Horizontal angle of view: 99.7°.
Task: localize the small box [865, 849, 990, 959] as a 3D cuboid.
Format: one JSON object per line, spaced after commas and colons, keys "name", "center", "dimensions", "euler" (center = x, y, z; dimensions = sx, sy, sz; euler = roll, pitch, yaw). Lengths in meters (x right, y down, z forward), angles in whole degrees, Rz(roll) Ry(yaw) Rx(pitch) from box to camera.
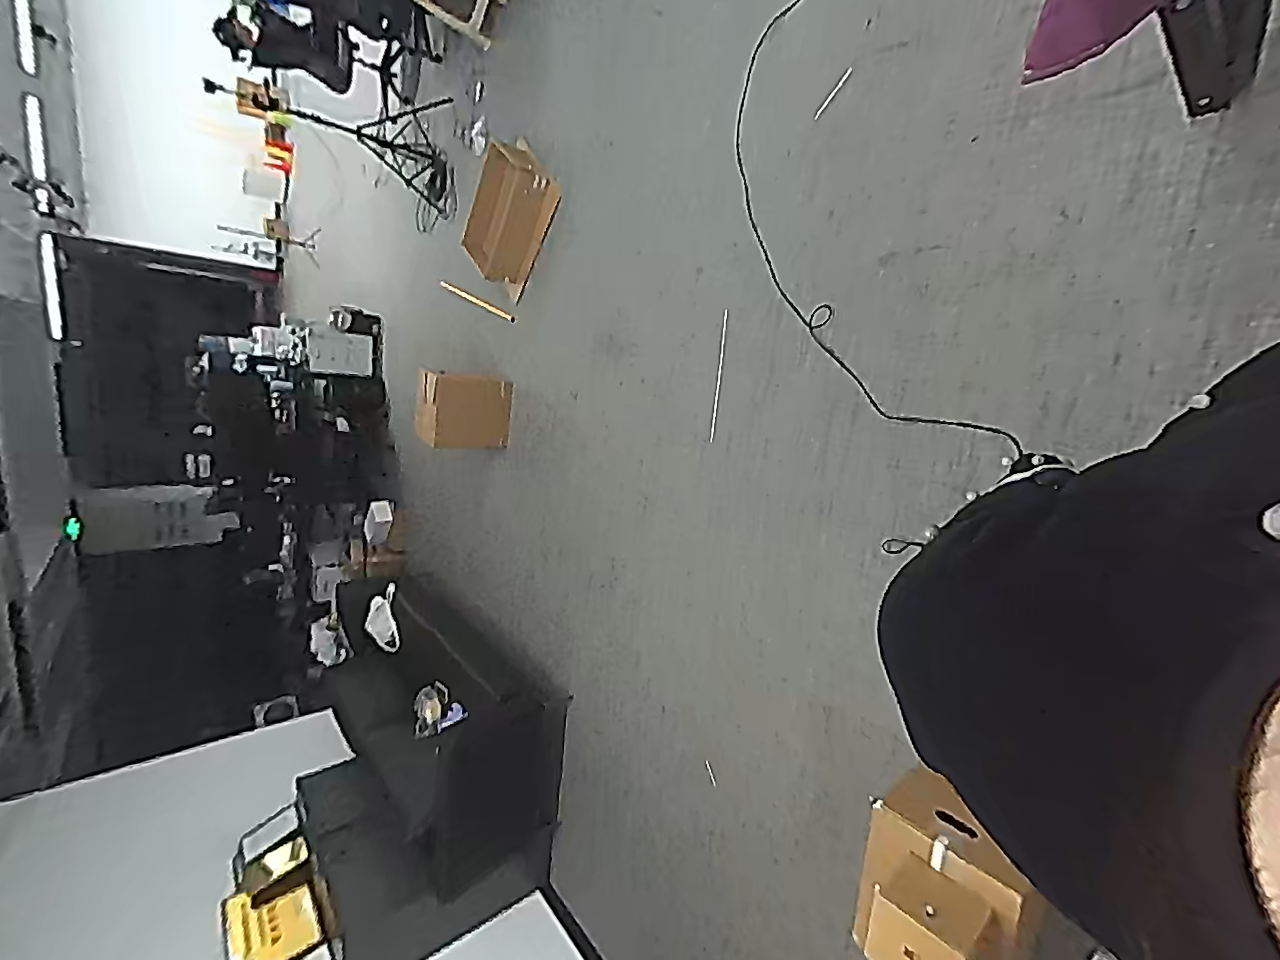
{"name": "small box", "center": [0.612, 0.936, 1.153], "dimensions": [0.179, 0.176, 0.168], "euler": [15, 105, 45]}
